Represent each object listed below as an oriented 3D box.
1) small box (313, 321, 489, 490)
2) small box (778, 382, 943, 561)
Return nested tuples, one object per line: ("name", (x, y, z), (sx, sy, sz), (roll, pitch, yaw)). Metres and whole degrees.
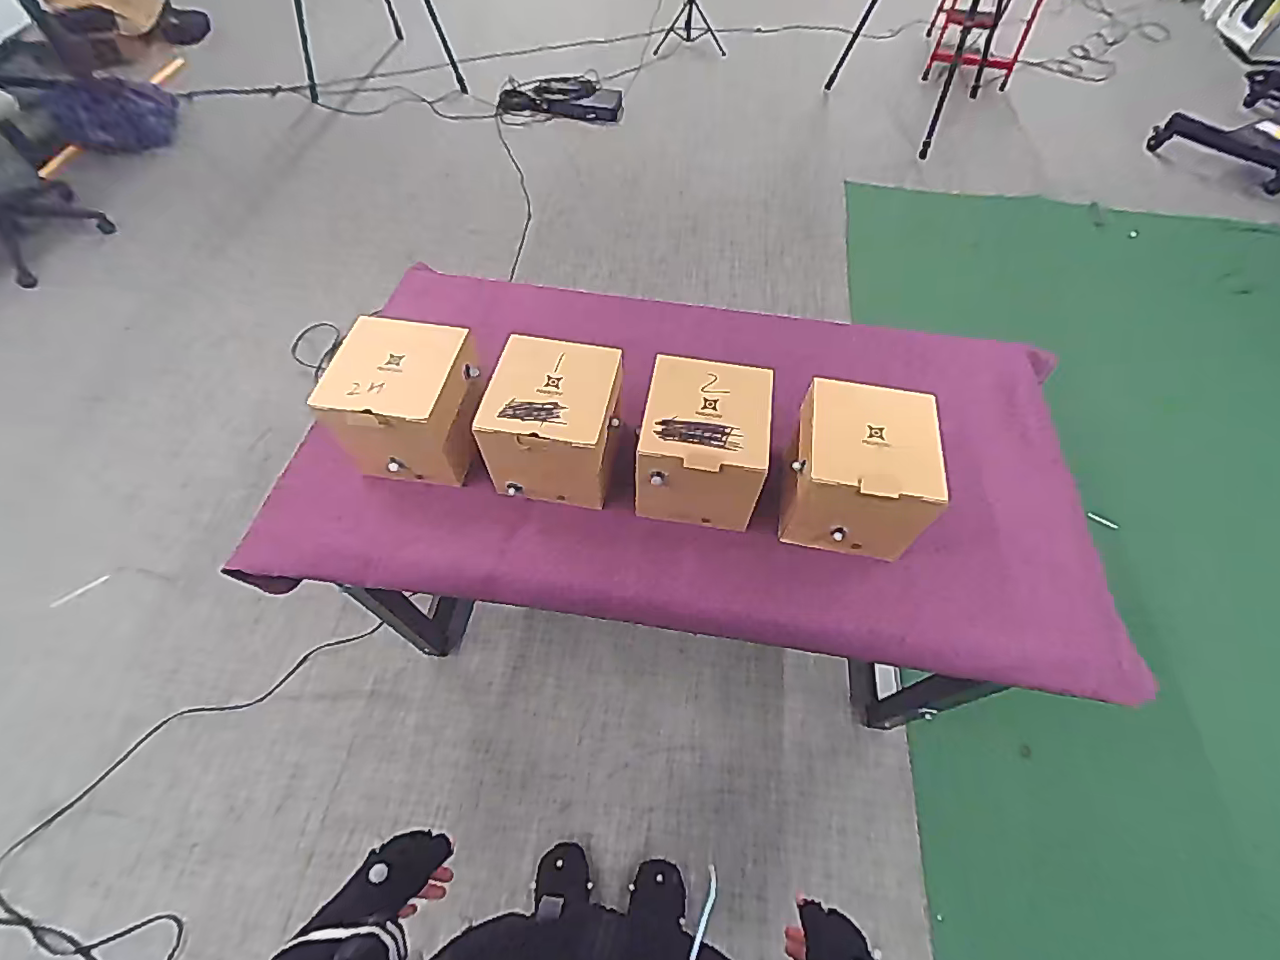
("small box", (-0.341, -0.109, 0.817), (0.168, 0.176, 0.179), (8, 58, 4))
("small box", (0.299, -0.009, 0.769), (0.168, 0.176, 0.179), (10, 58, 5))
